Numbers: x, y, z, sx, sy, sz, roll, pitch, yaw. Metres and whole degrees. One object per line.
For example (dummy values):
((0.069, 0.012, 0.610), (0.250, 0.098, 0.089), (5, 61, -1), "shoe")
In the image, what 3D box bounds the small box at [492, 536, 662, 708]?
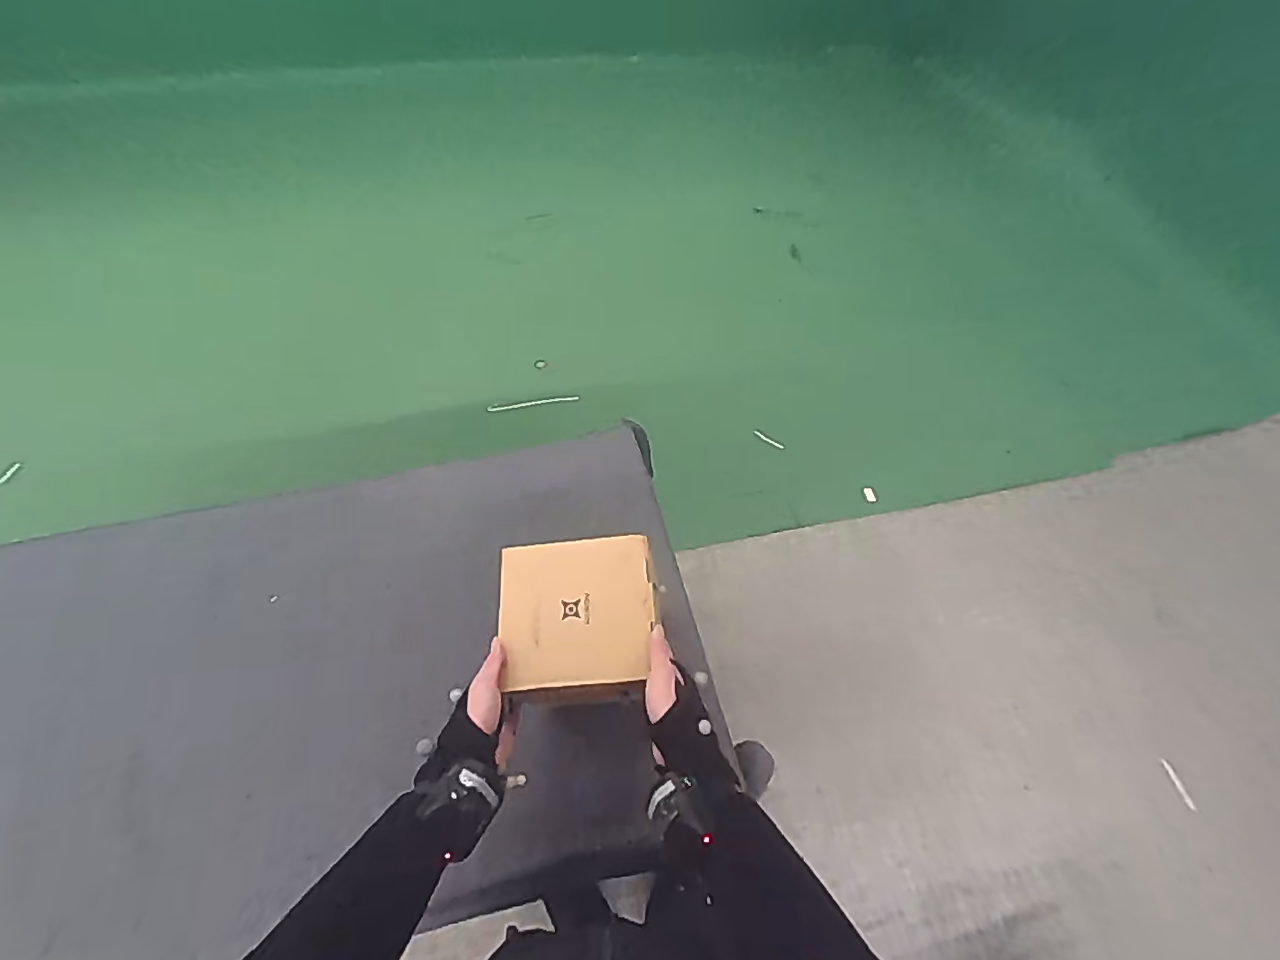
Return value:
((-0.066, 0.182, 0.669), (0.179, 0.176, 0.168), (-7, 61, 4), "small box")
